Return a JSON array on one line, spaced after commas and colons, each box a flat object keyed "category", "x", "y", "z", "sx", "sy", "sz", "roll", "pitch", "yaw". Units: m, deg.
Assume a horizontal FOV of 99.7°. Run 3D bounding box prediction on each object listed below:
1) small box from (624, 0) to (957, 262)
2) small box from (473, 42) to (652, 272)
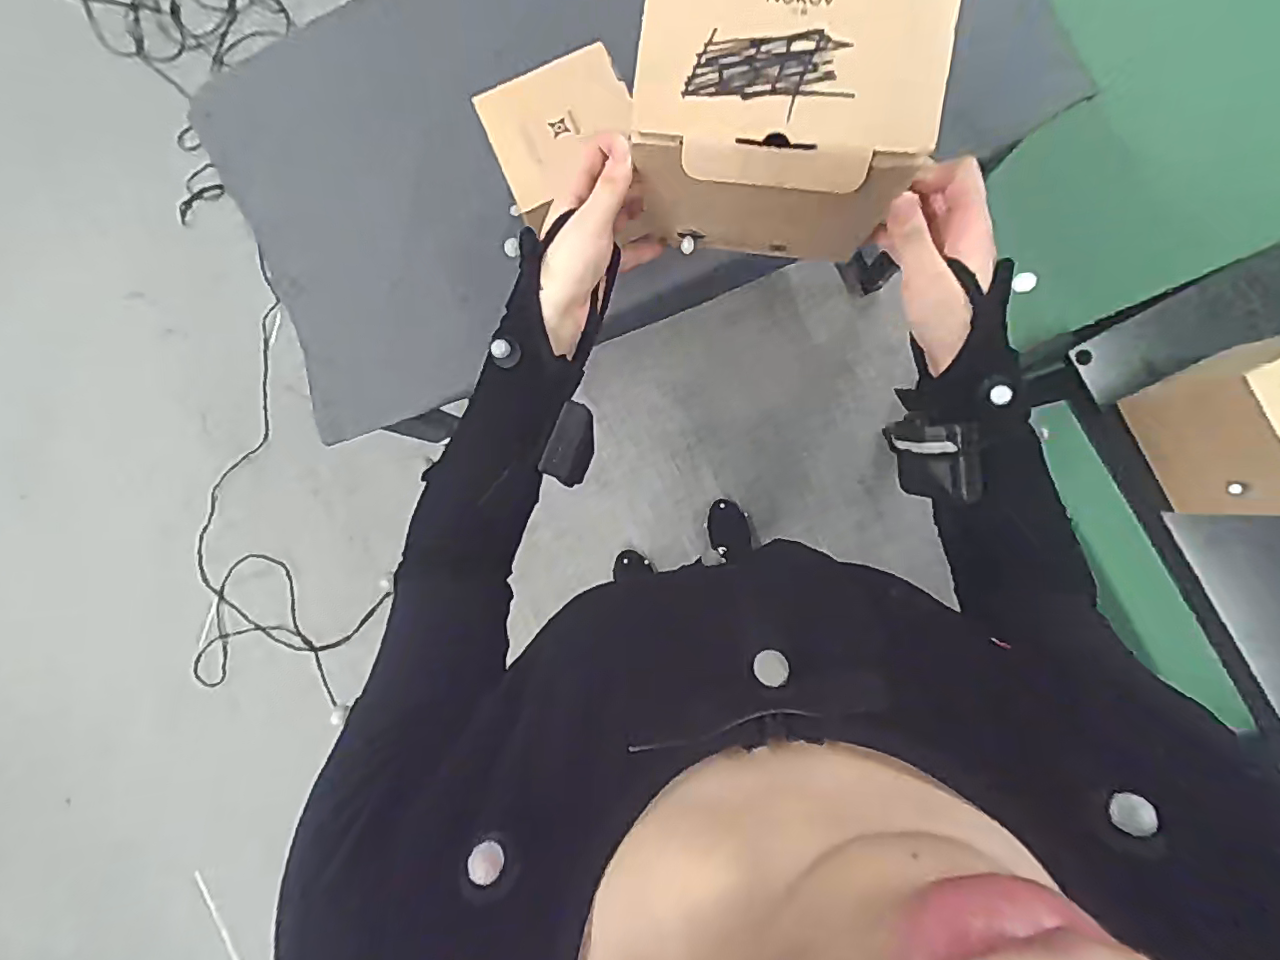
[{"category": "small box", "x": 0.094, "y": -0.265, "z": 0.365, "sx": 0.168, "sy": 0.176, "sz": 0.179, "roll": 9, "pitch": 95, "yaw": 7}, {"category": "small box", "x": -0.089, "y": -0.416, "z": 0.727, "sx": 0.179, "sy": 0.176, "sz": 0.168, "roll": -24, "pitch": 84, "yaw": 3}]
